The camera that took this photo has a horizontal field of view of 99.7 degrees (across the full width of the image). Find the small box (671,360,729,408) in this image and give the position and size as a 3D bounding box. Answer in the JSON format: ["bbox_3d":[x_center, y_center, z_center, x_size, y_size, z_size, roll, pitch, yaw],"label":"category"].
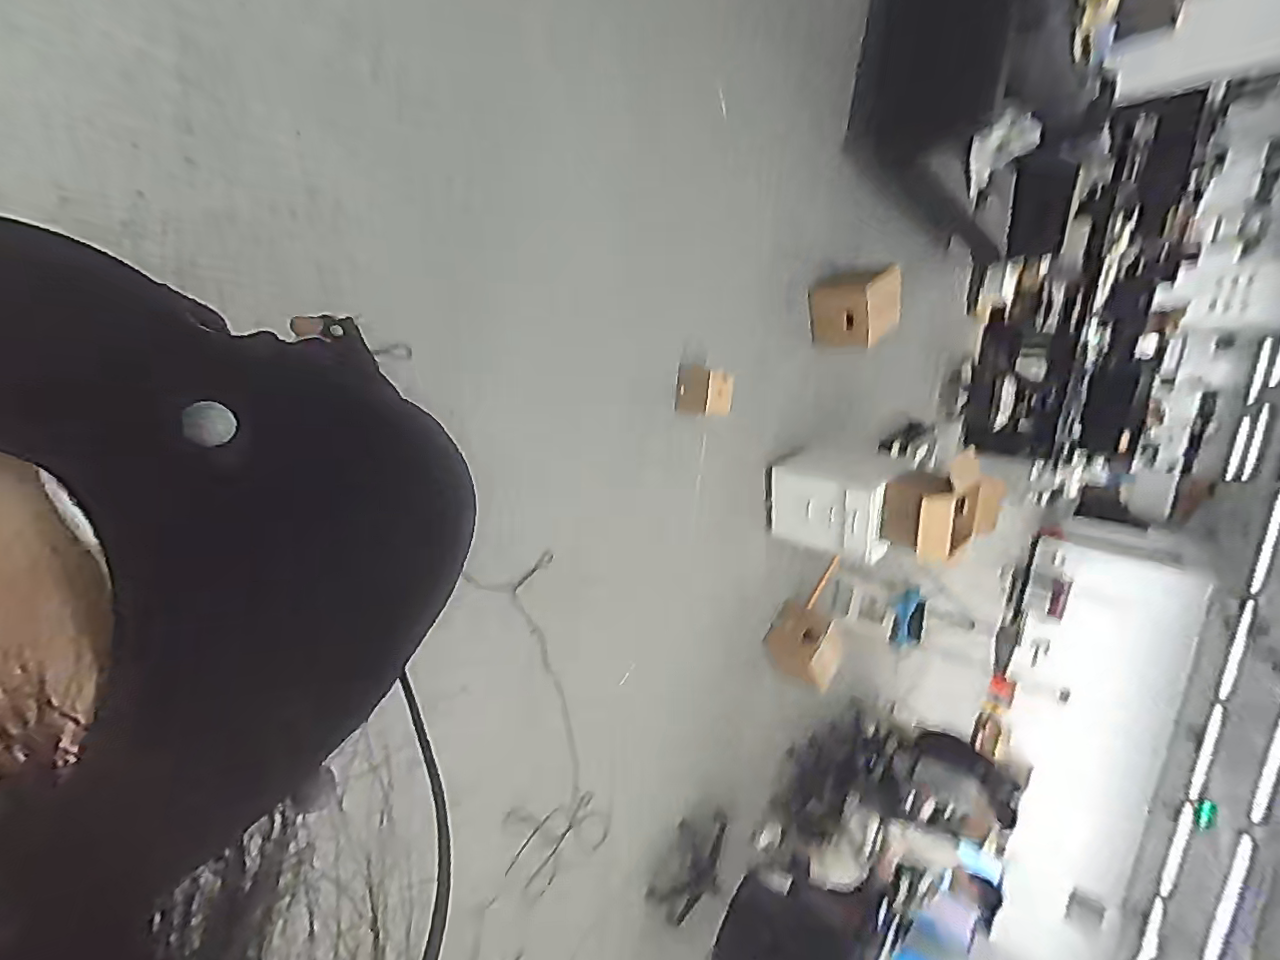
[{"bbox_3d":[0.249,-0.404,2.270,0.168,0.176,0.179,-4,105,-46],"label":"small box"}]
